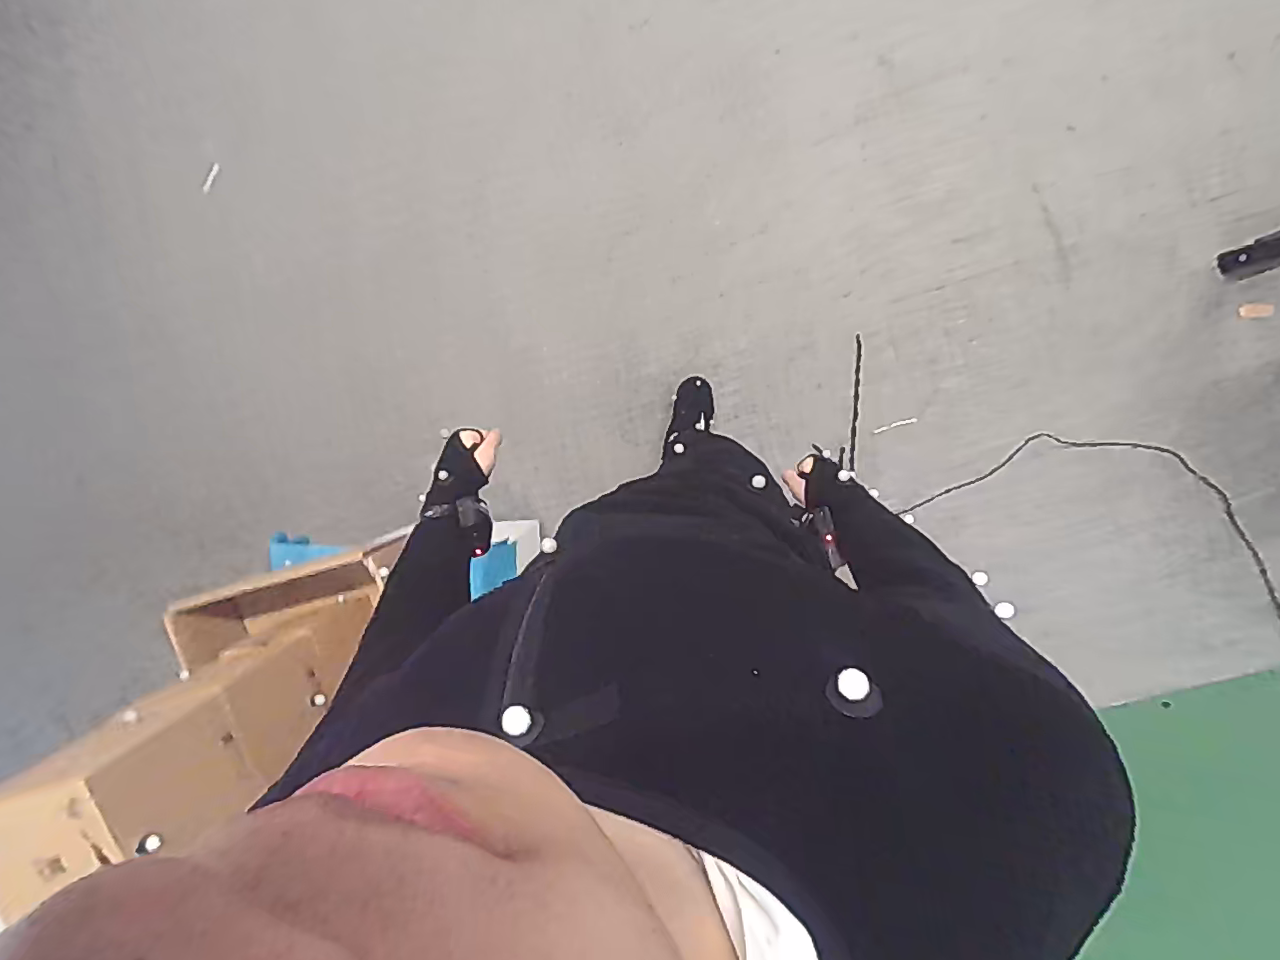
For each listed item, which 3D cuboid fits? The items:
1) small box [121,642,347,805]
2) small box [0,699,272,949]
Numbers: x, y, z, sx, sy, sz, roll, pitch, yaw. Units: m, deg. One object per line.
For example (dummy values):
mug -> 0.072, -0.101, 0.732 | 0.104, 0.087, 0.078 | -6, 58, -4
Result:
small box -> -0.583, 0.365, 0.800 | 0.179, 0.176, 0.168 | -18, 97, 7
small box -> -0.595, 0.391, 0.639 | 0.179, 0.176, 0.168 | -18, 97, 8
